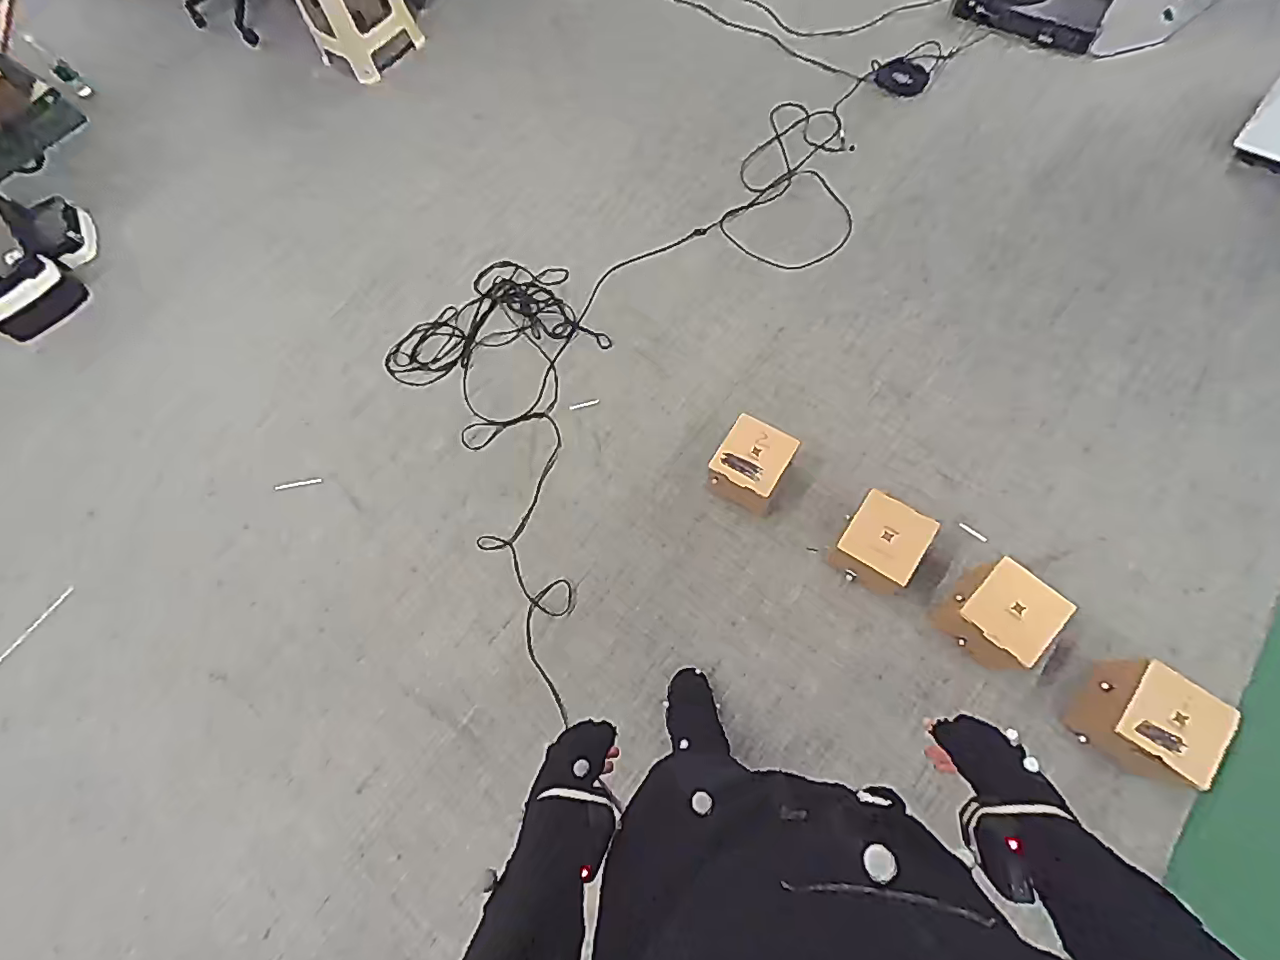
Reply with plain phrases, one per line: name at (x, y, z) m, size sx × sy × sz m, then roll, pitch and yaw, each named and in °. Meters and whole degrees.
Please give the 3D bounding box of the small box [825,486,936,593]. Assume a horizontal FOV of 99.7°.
small box at (0.567, 0.147, 1.299) m, size 0.168 × 0.176 × 0.179 m, roll 32°, pitch 77°, yaw 18°

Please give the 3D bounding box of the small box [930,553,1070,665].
small box at (0.797, 0.295, 1.219) m, size 0.168 × 0.176 × 0.179 m, roll 42°, pitch 79°, yaw 18°

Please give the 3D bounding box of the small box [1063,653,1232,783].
small box at (1.034, 0.486, 1.121) m, size 0.168 × 0.176 × 0.179 m, roll 37°, pitch 76°, yaw 17°
